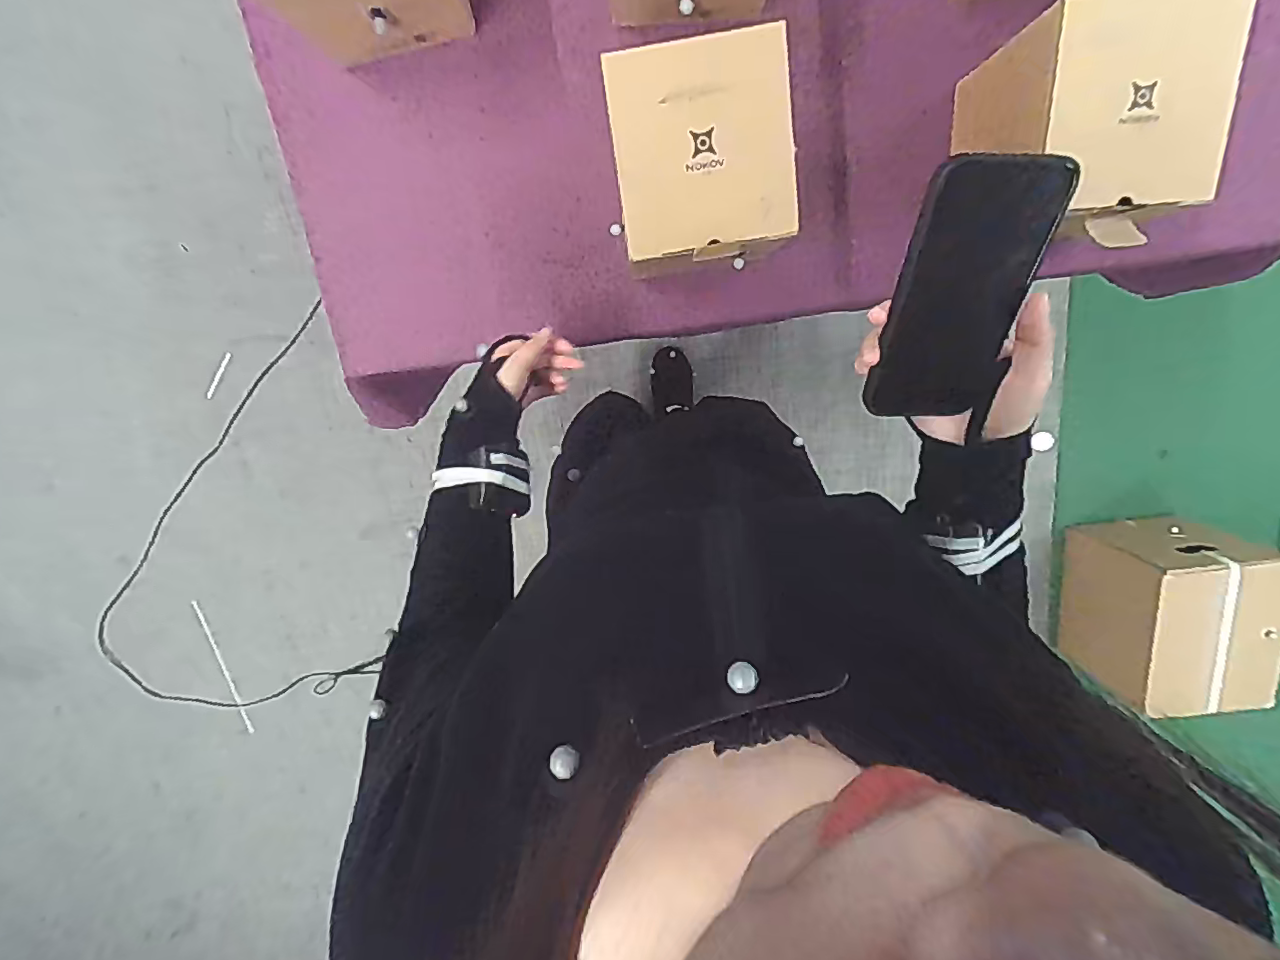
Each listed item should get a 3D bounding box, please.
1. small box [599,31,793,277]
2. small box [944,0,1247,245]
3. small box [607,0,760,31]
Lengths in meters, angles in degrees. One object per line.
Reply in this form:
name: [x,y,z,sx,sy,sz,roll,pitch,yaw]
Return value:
small box: [0.056,-0.321,0.575,0.168,0.176,0.179,-8,104,2]
small box: [0.443,-0.354,0.561,0.168,0.176,0.179,-3,106,2]
small box: [0.043,-0.568,0.505,0.168,0.176,0.179,-1,106,1]
